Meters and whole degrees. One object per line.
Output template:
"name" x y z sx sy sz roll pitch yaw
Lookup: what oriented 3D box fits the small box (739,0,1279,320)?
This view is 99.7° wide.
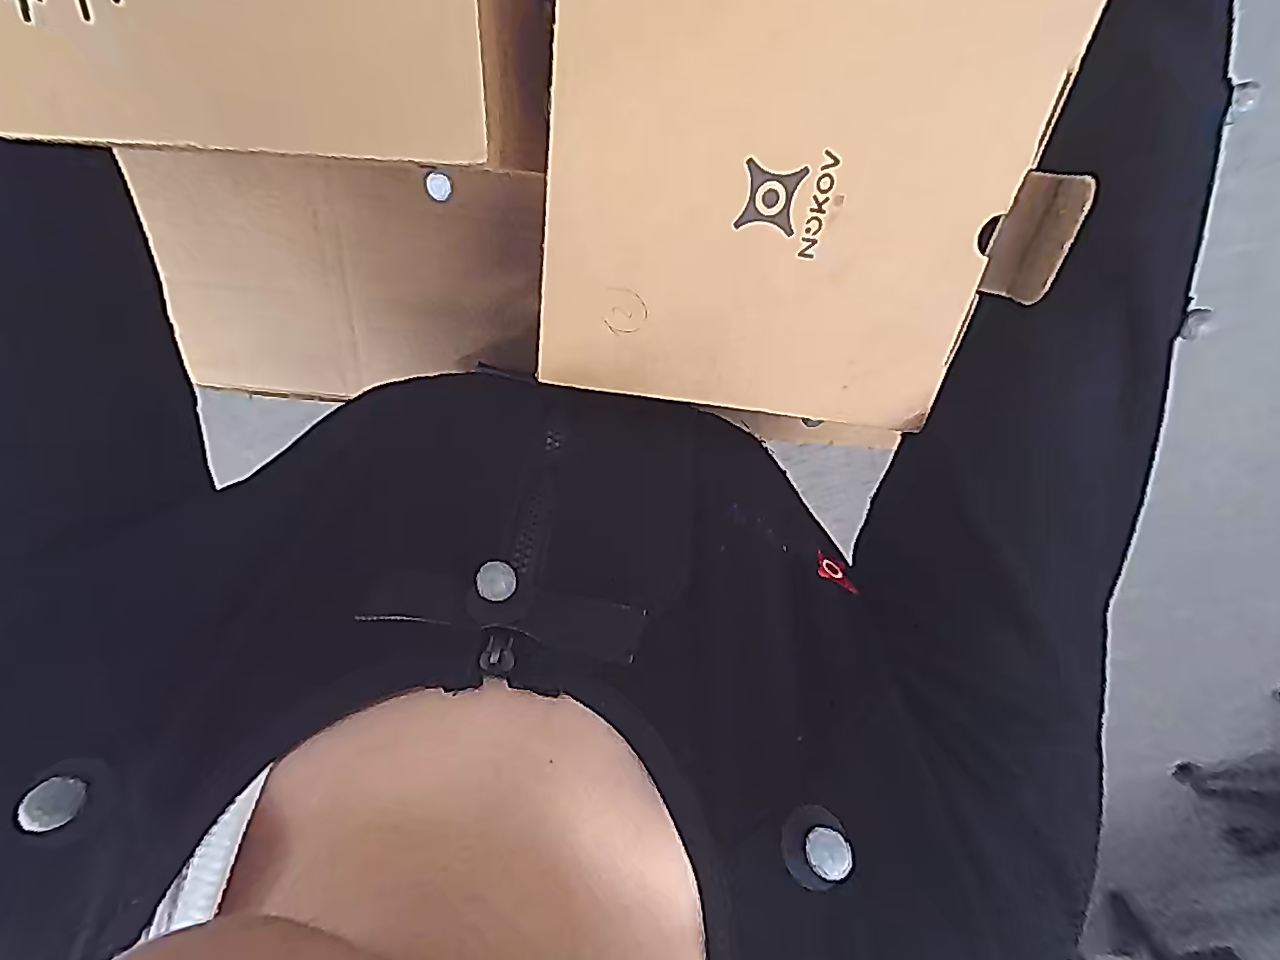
"small box" 0.159 -0.194 0.229 0.179 0.176 0.168 17 128 -11
